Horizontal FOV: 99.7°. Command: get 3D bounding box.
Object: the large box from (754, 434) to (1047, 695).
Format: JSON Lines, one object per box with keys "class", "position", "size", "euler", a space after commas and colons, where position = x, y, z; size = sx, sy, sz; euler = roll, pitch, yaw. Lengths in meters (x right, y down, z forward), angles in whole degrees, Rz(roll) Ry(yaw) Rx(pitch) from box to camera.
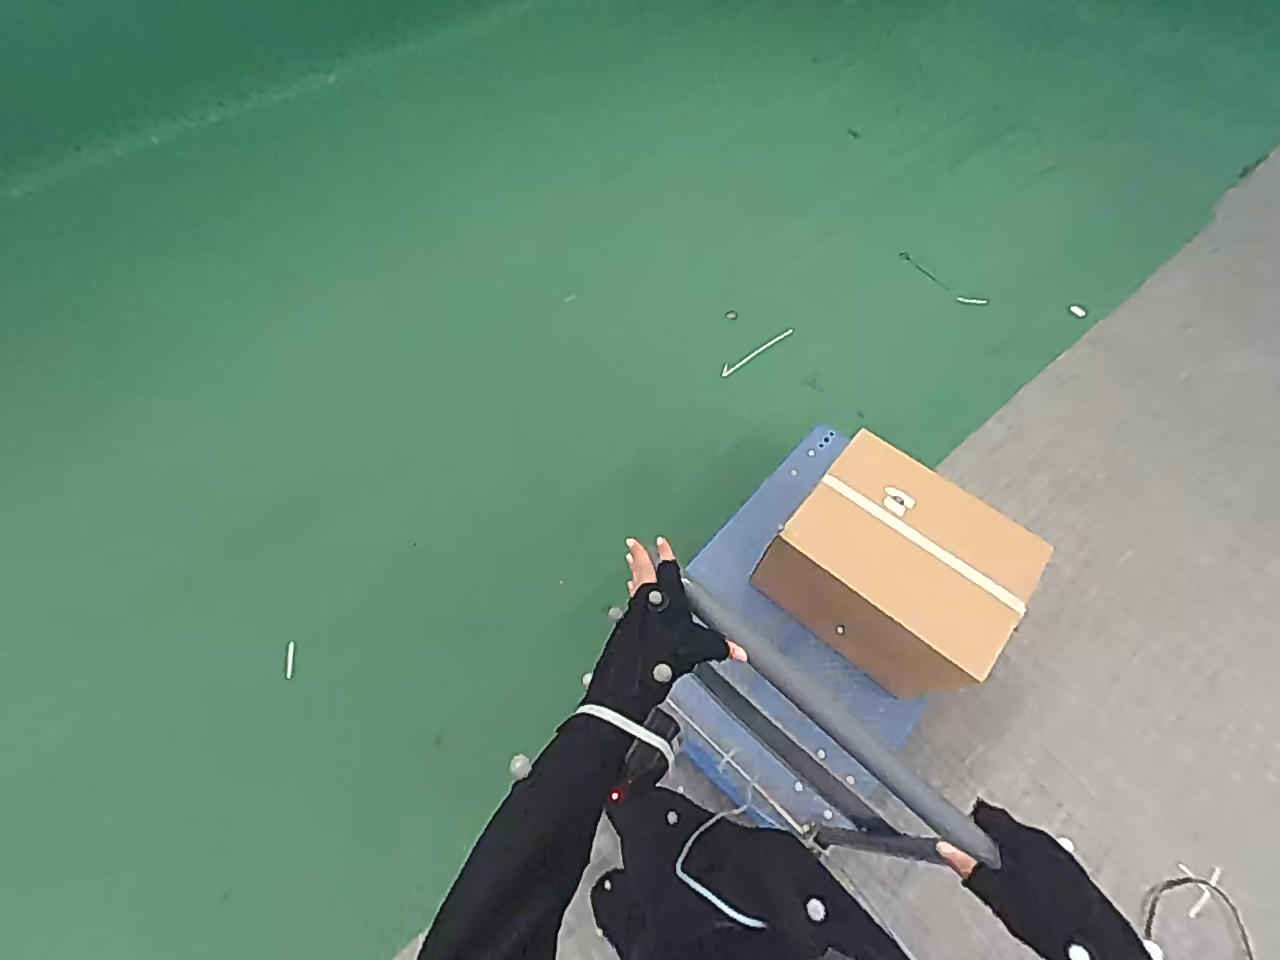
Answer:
{"class": "large box", "position": [0.510, 0.184, 1.137], "size": [0.408, 0.320, 0.320], "euler": [37, 68, 18]}
